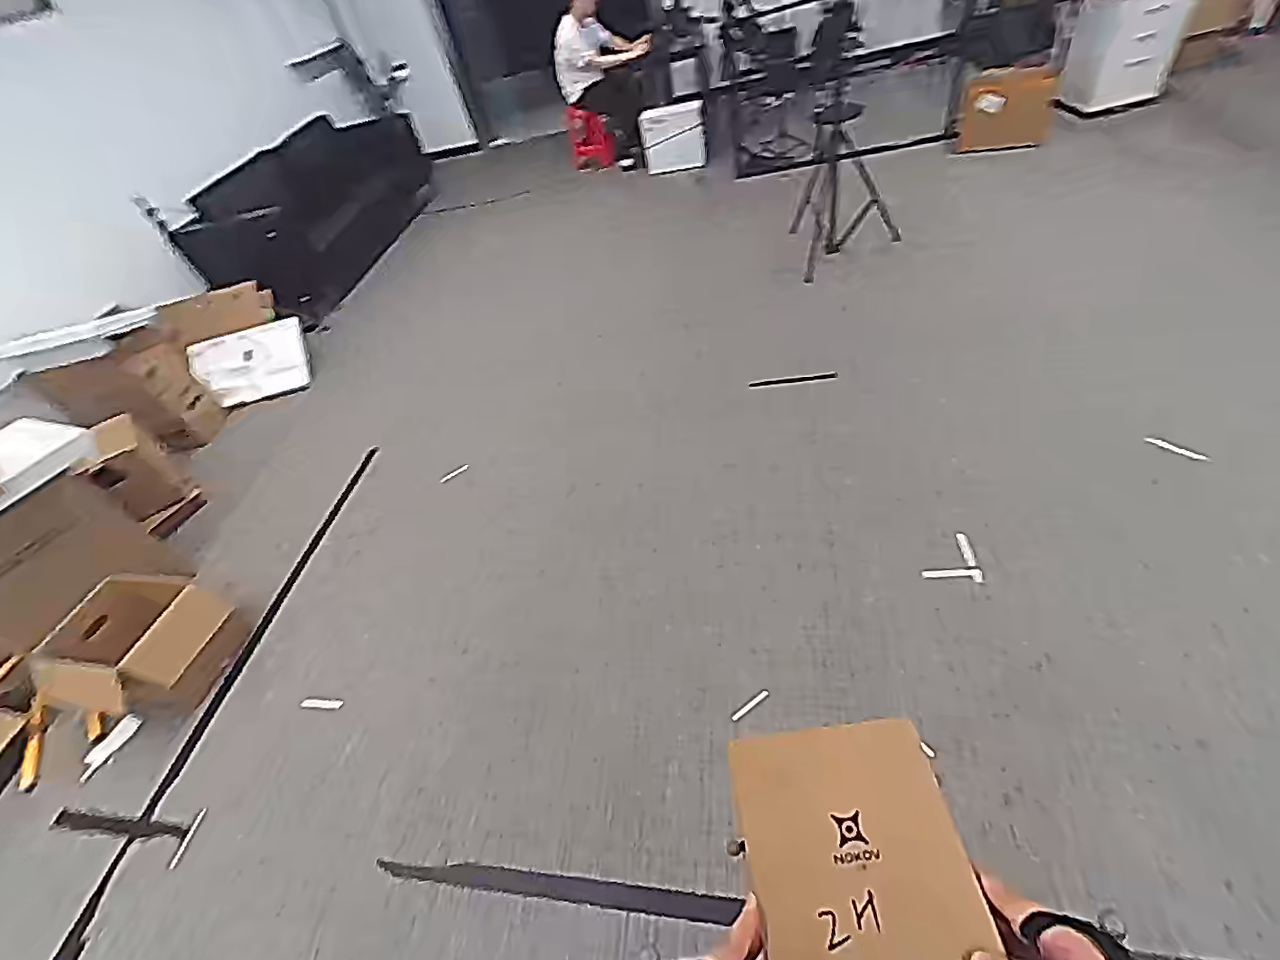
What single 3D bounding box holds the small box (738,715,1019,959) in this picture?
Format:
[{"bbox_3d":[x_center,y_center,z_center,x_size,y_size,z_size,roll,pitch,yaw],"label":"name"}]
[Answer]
[{"bbox_3d":[0.182,0.332,0.482,0.168,0.176,0.179,-8,49,3],"label":"small box"}]
